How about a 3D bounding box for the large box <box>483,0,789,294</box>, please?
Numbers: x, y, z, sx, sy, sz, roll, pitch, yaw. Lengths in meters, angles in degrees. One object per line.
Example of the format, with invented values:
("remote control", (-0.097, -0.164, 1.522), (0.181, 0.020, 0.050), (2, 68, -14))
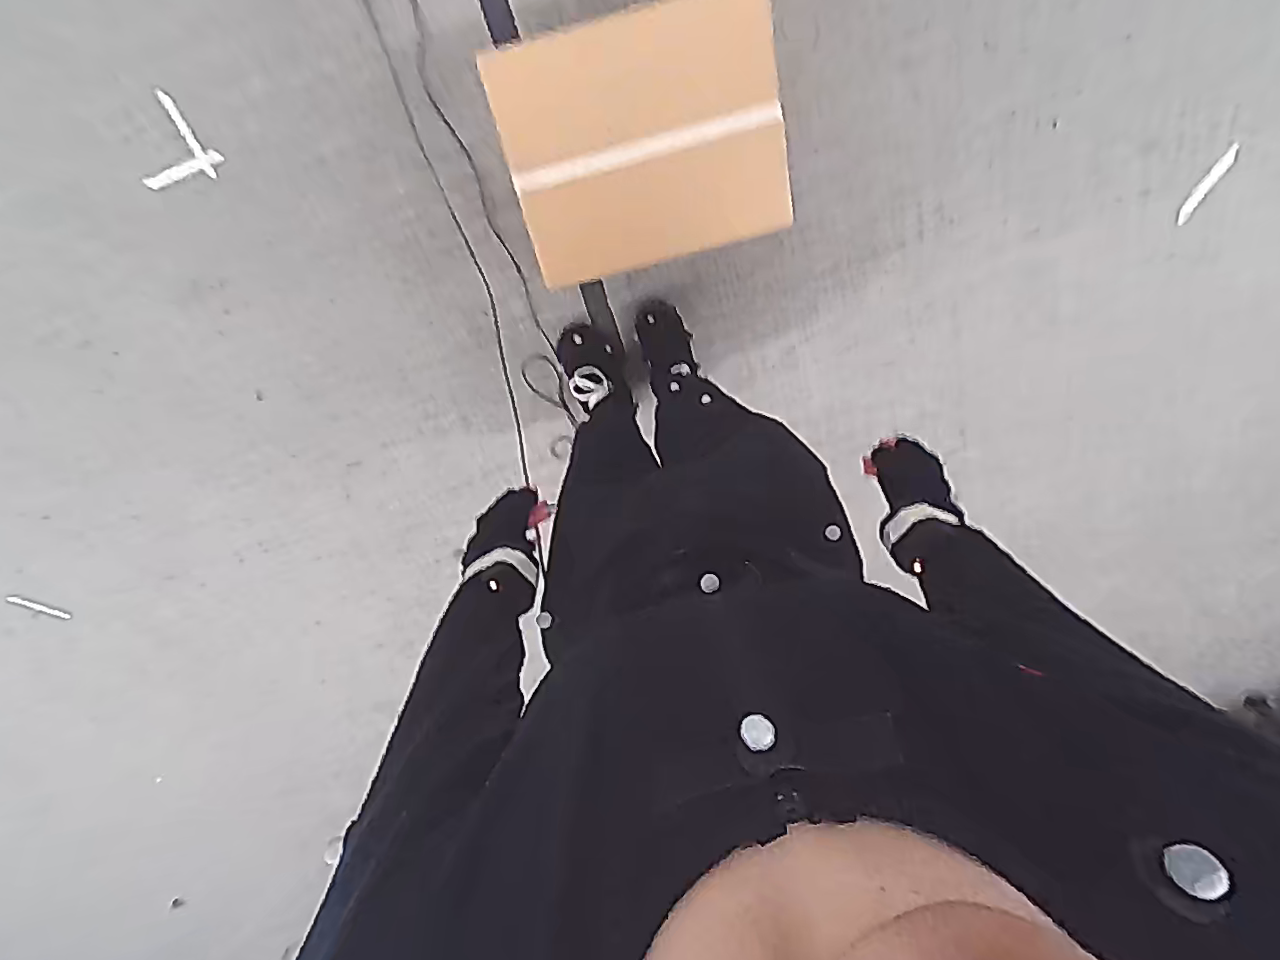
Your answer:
("large box", (-0.001, -0.548, 0.932), (0.408, 0.320, 0.320), (-14, 116, 2))
